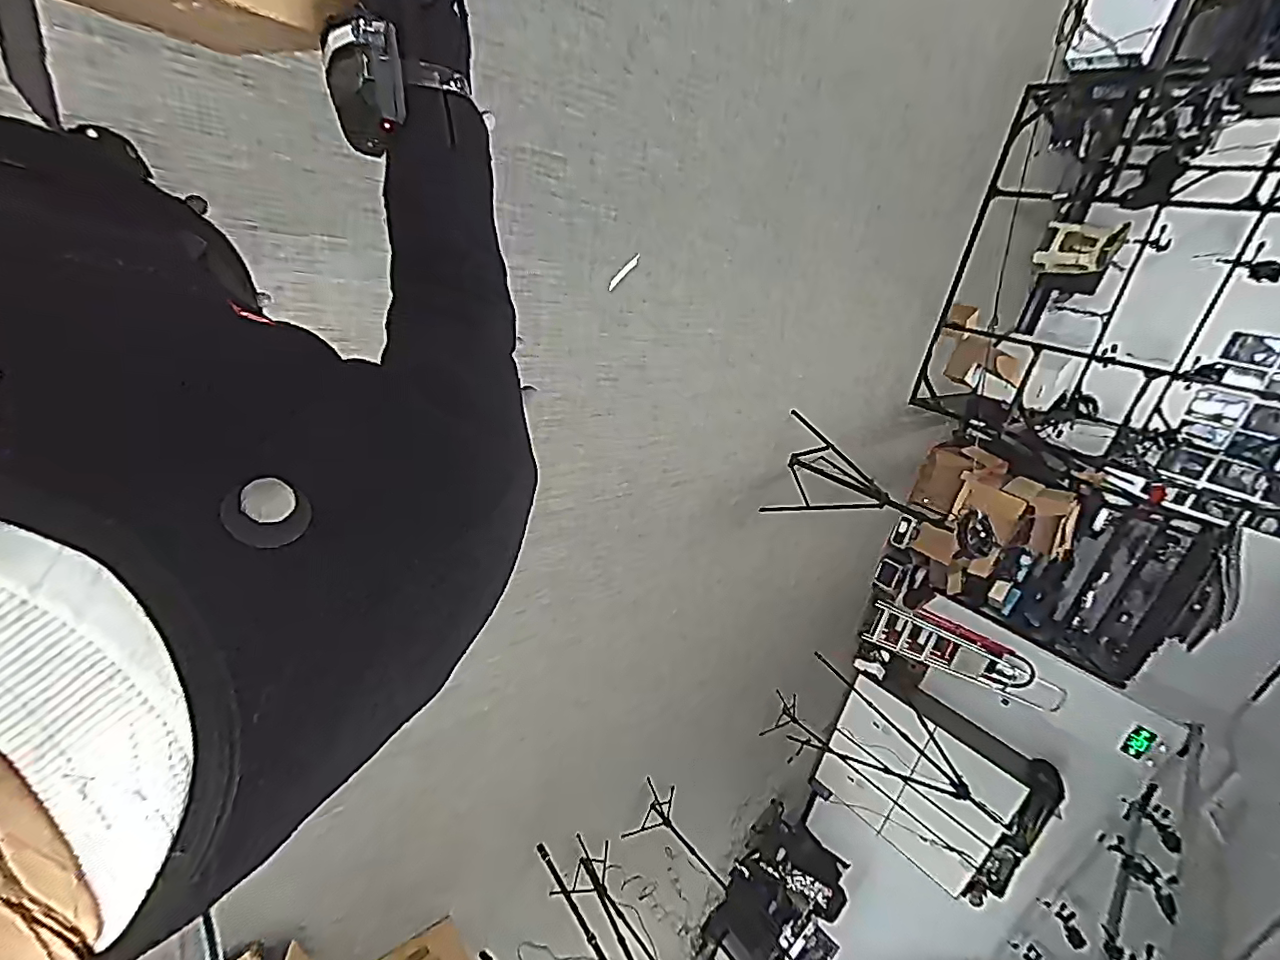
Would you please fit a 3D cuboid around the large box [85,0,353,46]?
[{"bbox_3d":[-0.405,-0.466,0.252,0.408,0.320,0.320,-13,127,-45],"label":"large box"}]
